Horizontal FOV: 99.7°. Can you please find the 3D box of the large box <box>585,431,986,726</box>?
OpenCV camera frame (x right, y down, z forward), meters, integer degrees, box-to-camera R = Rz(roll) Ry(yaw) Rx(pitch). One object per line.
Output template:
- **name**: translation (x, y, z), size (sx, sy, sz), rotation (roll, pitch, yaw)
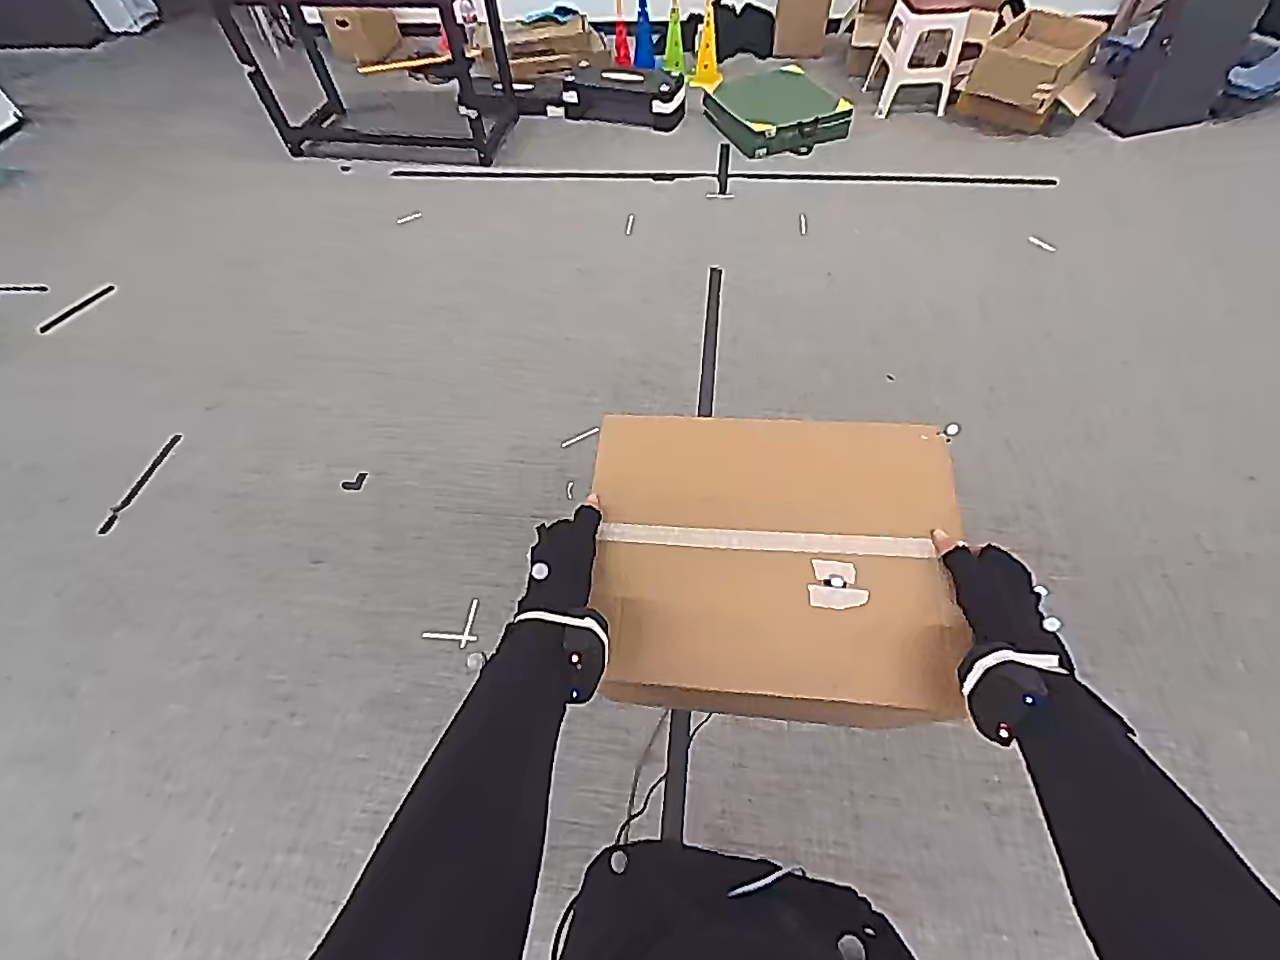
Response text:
- **large box**: translation (0.159, 0.147, 0.737), size (0.408, 0.320, 0.320), rotation (3, 64, 6)
